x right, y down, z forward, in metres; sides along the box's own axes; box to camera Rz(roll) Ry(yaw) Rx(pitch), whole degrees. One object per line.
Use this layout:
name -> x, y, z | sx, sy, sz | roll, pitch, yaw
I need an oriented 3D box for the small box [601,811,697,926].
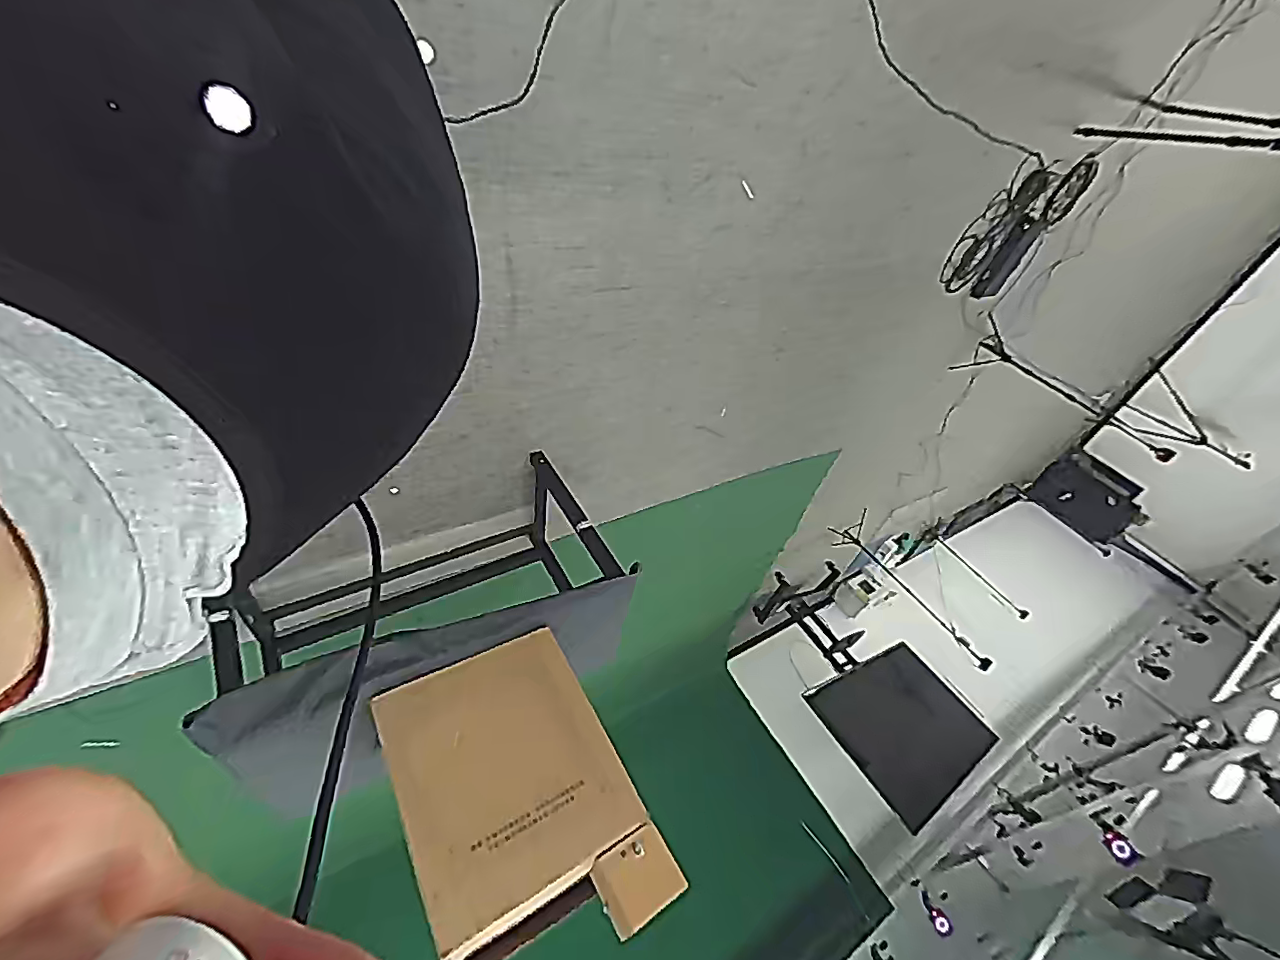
small box -> 0.015, 0.990, 1.387 | 0.168, 0.176, 0.179 | -21, 142, -30
